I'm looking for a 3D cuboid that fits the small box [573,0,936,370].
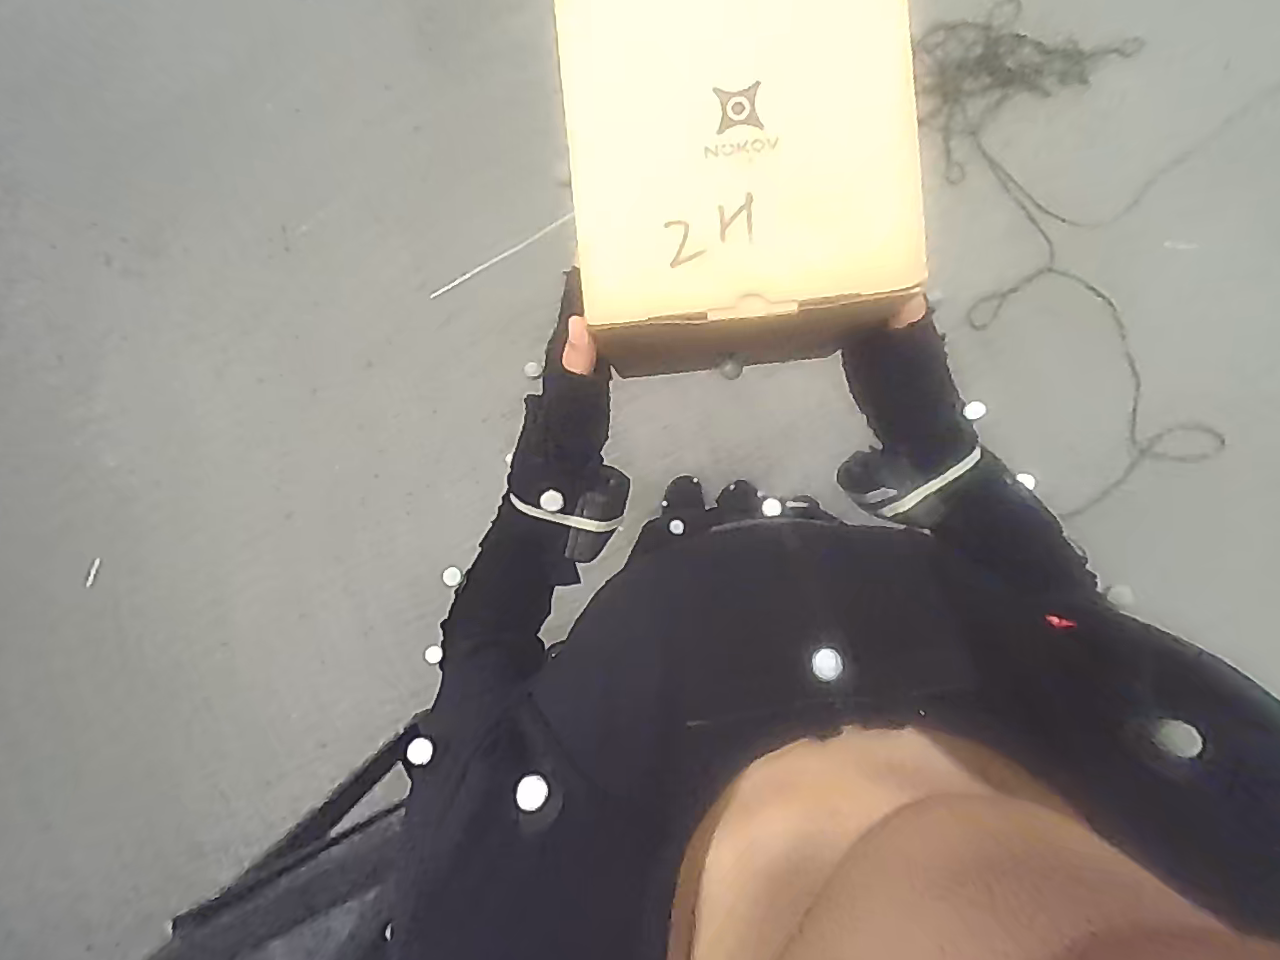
[{"bbox_3d":[0.057,-0.175,0.335,0.168,0.176,0.179,-4,91,5],"label":"small box"}]
